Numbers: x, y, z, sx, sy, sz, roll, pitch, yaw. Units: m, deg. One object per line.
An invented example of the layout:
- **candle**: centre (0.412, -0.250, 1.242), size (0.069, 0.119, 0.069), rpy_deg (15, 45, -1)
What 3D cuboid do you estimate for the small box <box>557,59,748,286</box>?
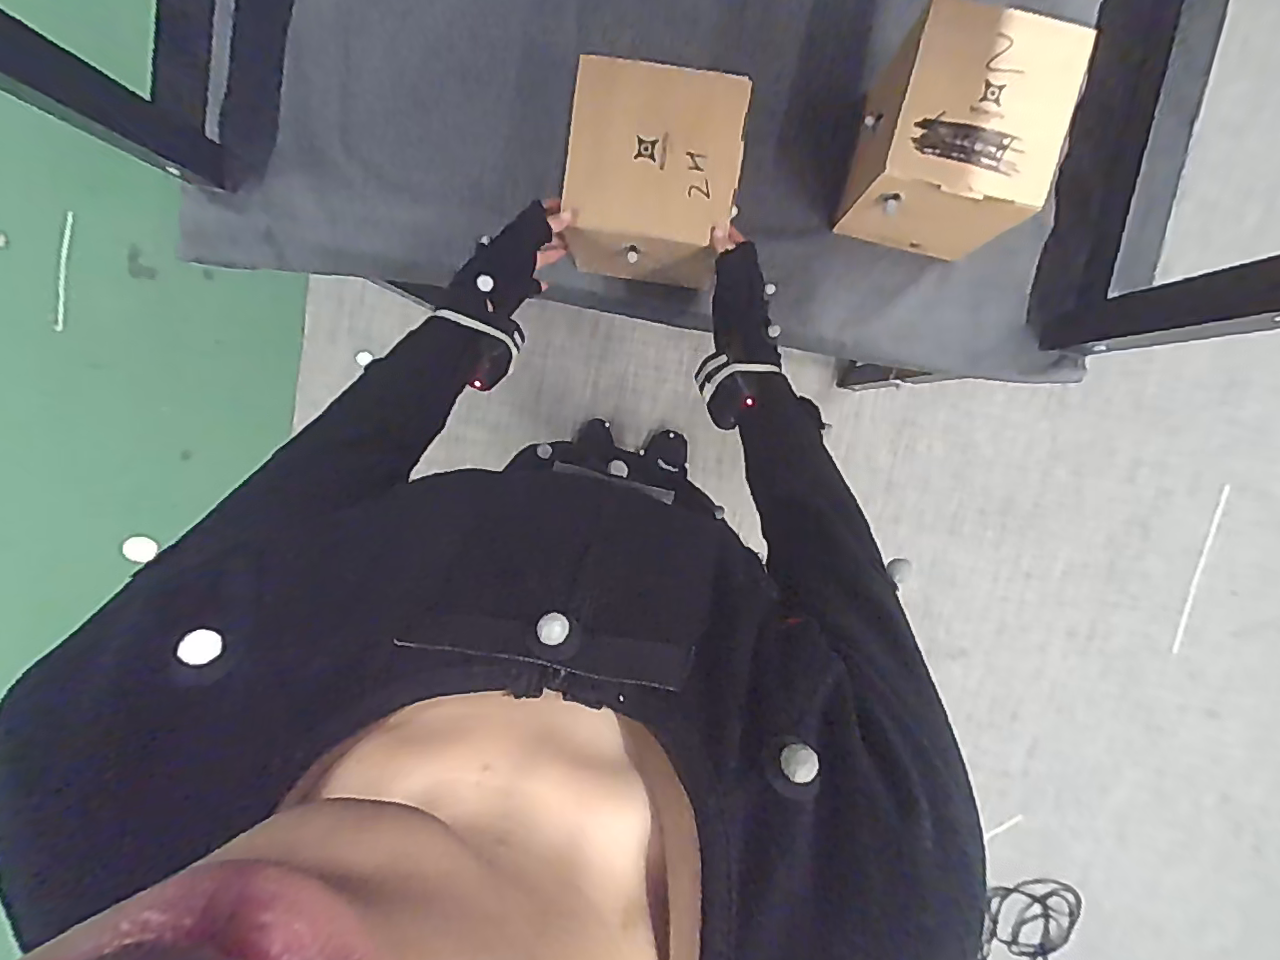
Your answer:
- **small box**: centre (0.013, -0.337, 0.627), size (0.179, 0.176, 0.168), rpy_deg (8, 96, 0)
